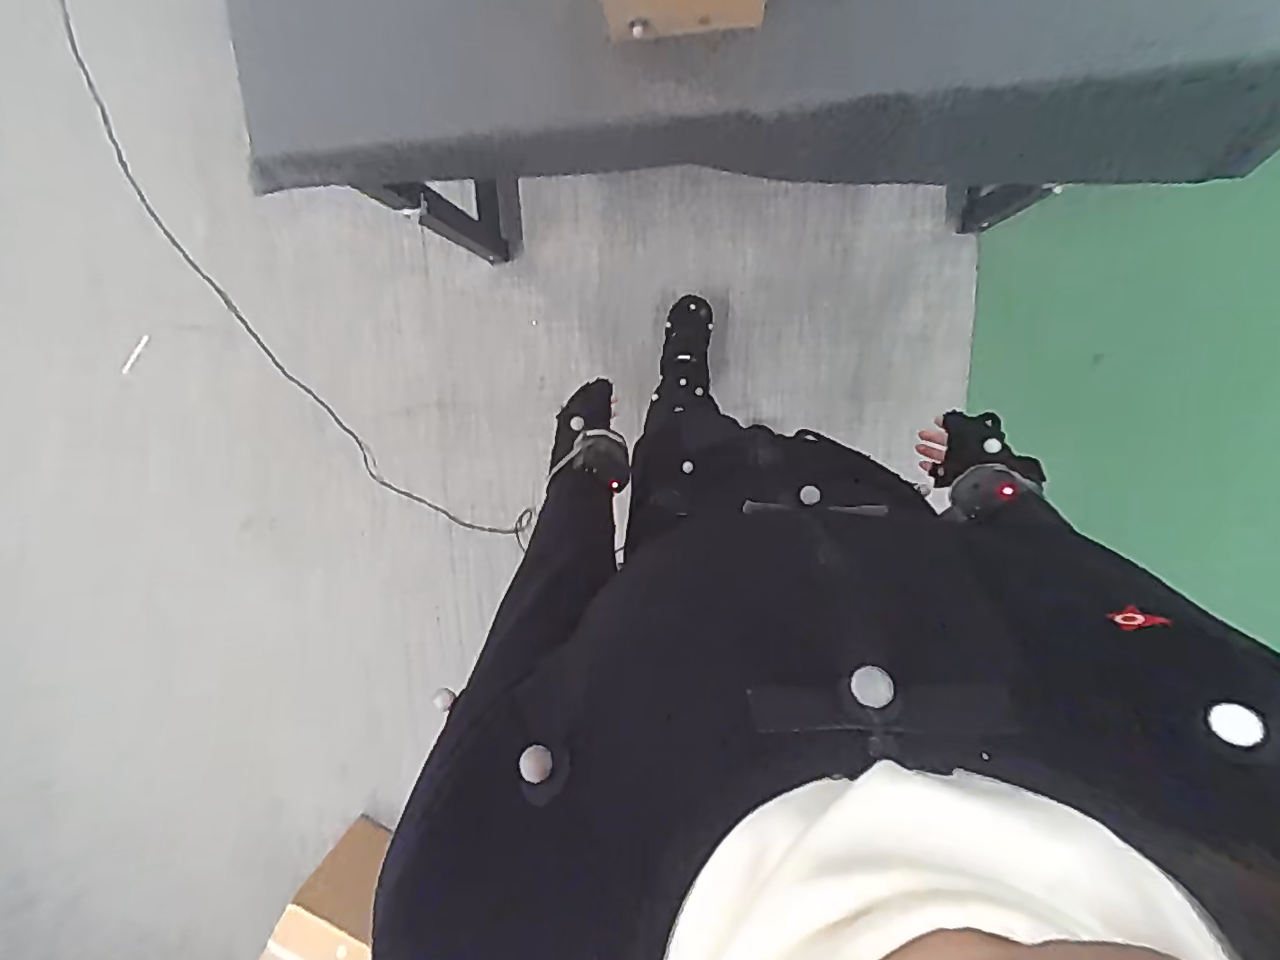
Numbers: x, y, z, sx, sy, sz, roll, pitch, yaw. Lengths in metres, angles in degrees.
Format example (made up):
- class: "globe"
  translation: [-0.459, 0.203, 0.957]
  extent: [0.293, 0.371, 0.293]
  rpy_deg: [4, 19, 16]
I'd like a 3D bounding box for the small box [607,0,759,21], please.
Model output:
- class: "small box"
  translation: [0.037, -0.571, 0.500]
  extent: [0.168, 0.176, 0.179]
  rpy_deg: [-1, 99, 7]
